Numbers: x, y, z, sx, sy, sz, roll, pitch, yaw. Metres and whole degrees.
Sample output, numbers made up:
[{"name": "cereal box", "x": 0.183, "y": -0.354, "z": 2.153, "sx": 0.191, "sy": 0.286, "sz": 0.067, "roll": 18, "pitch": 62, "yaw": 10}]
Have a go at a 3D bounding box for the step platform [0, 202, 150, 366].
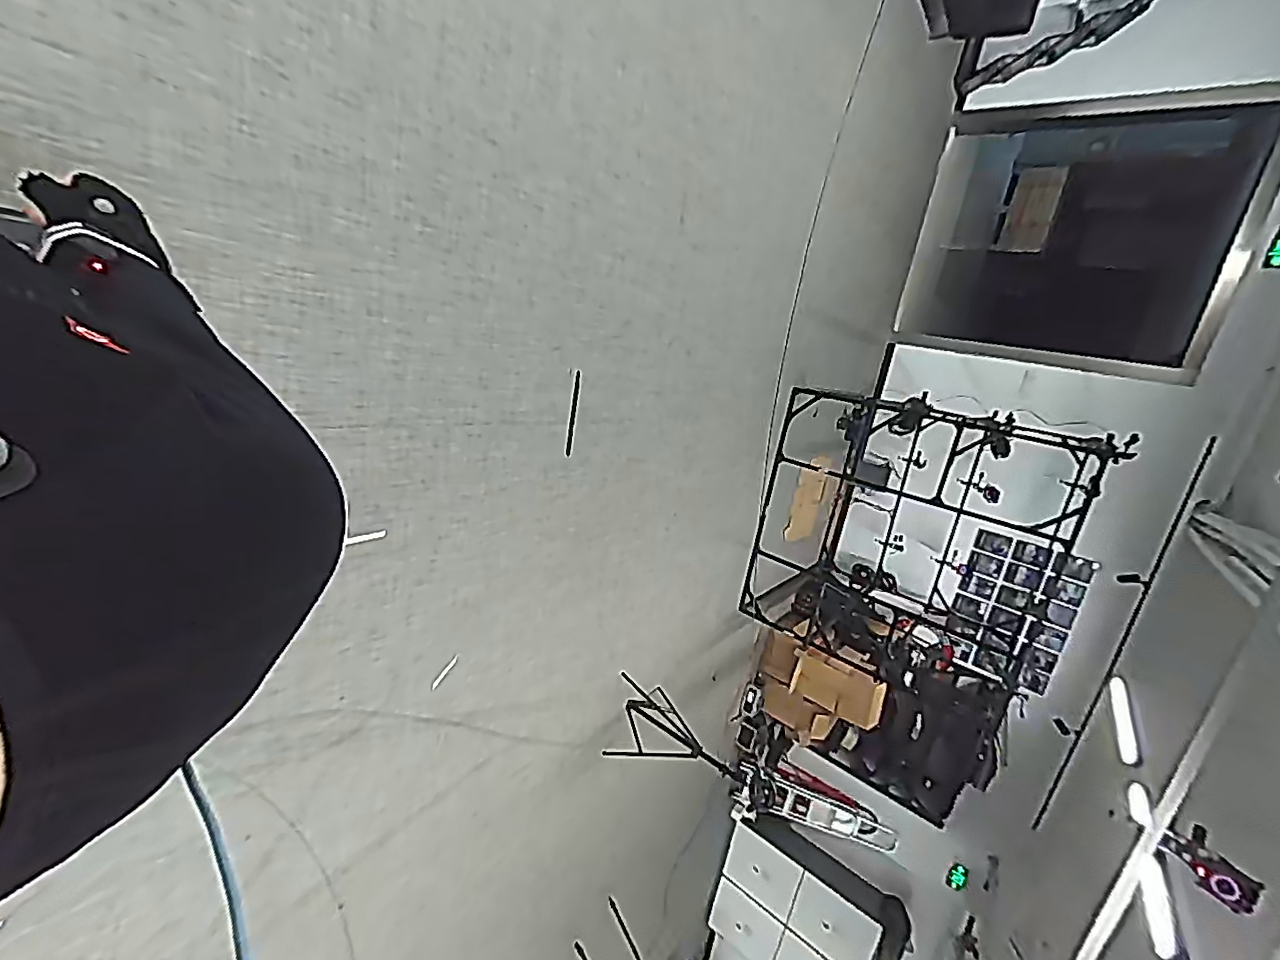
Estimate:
[{"name": "step platform", "x": -1.279, "y": -0.356, "z": 0.902, "sx": 0.684, "sy": 0.204, "sz": 0.286, "roll": -12, "pitch": 116, "yaw": -53}]
